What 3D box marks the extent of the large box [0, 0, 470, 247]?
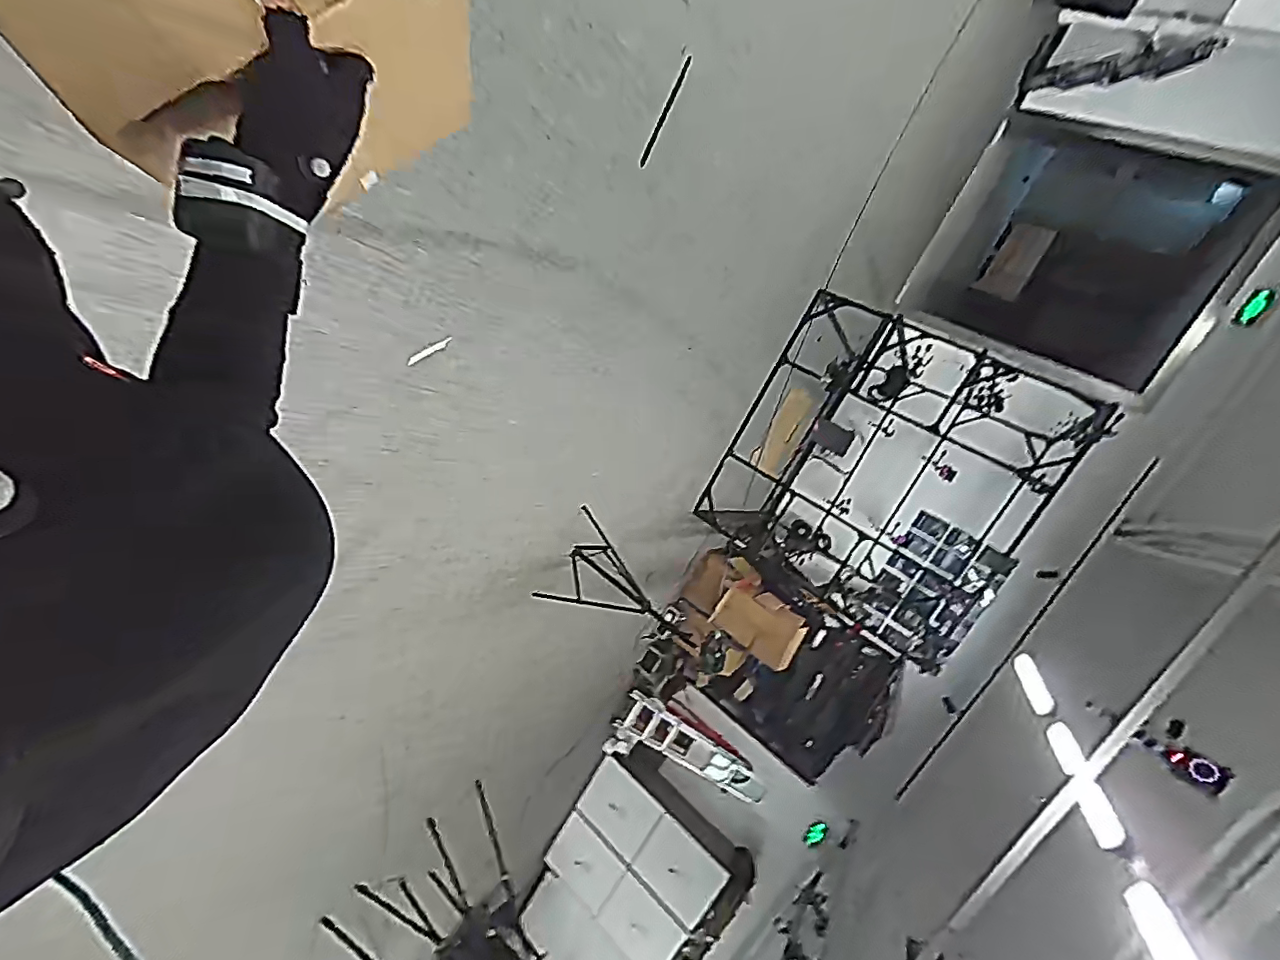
[{"bbox_3d":[-0.407,-0.505,0.492,0.320,0.408,0.320,-38,-162,-7],"label":"large box"}]
